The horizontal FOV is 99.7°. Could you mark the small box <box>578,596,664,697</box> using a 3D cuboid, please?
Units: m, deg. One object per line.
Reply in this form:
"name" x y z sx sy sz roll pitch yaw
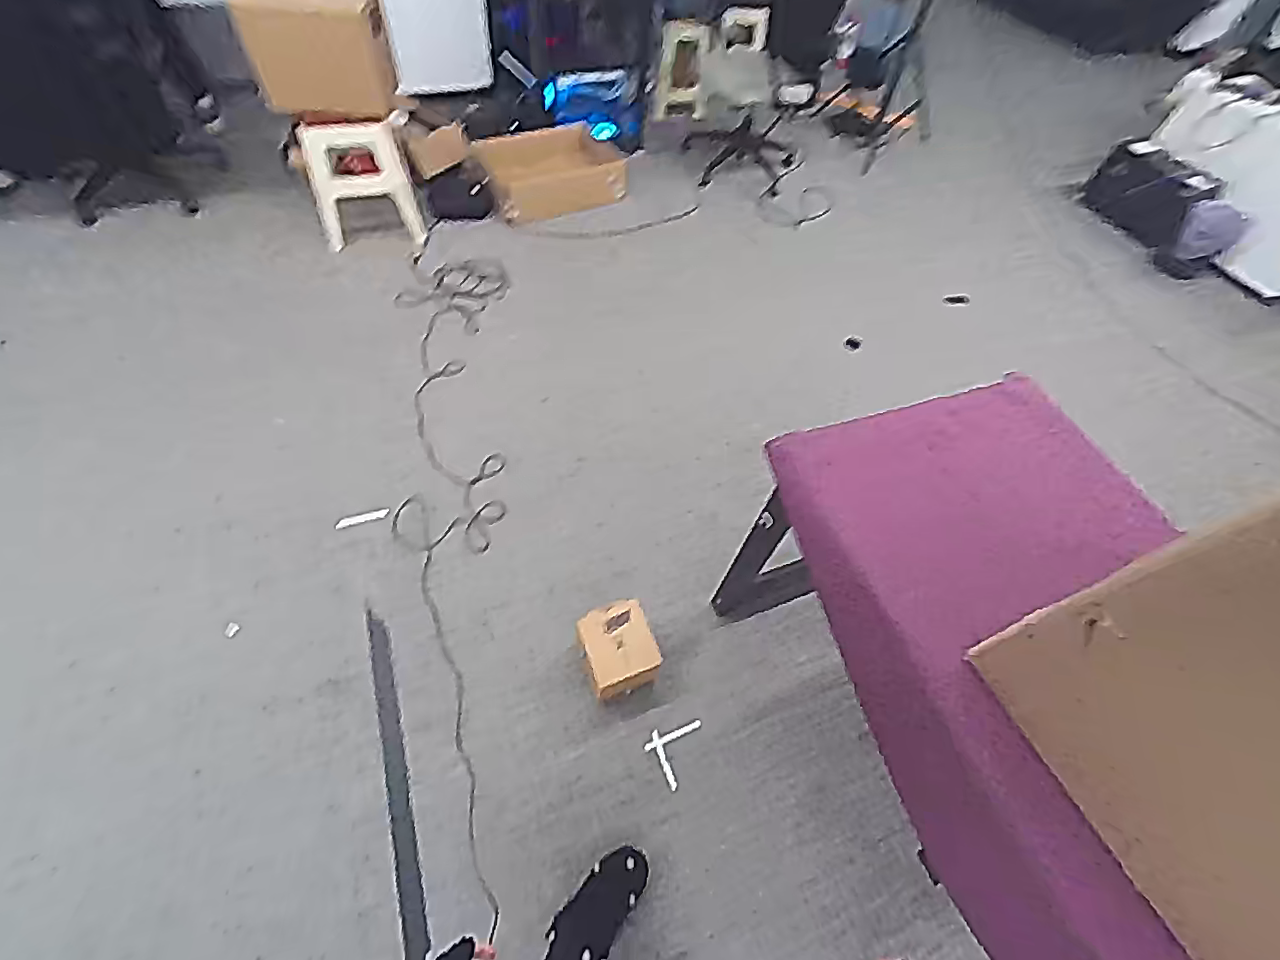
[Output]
"small box" -0.056 0.427 1.379 0.168 0.176 0.179 -17 61 -17
